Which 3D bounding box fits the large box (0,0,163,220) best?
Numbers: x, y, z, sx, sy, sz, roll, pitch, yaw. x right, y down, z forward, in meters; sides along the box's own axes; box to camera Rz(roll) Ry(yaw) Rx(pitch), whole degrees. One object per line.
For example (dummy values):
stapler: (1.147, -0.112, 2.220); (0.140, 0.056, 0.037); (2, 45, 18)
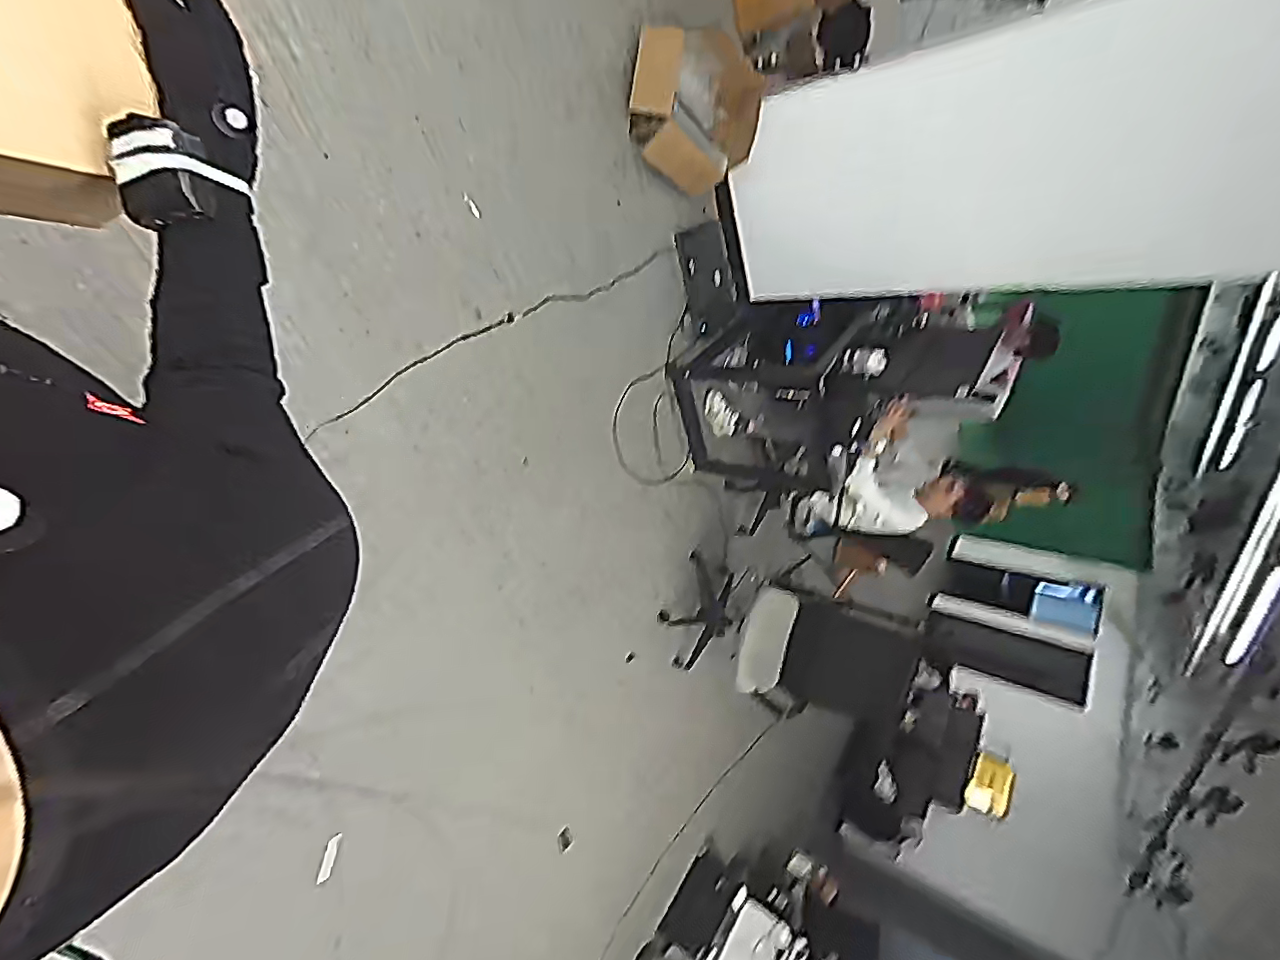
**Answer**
large box: (-0.607, -0.371, 0.318); (0.408, 0.320, 0.320); (-16, 113, -51)
